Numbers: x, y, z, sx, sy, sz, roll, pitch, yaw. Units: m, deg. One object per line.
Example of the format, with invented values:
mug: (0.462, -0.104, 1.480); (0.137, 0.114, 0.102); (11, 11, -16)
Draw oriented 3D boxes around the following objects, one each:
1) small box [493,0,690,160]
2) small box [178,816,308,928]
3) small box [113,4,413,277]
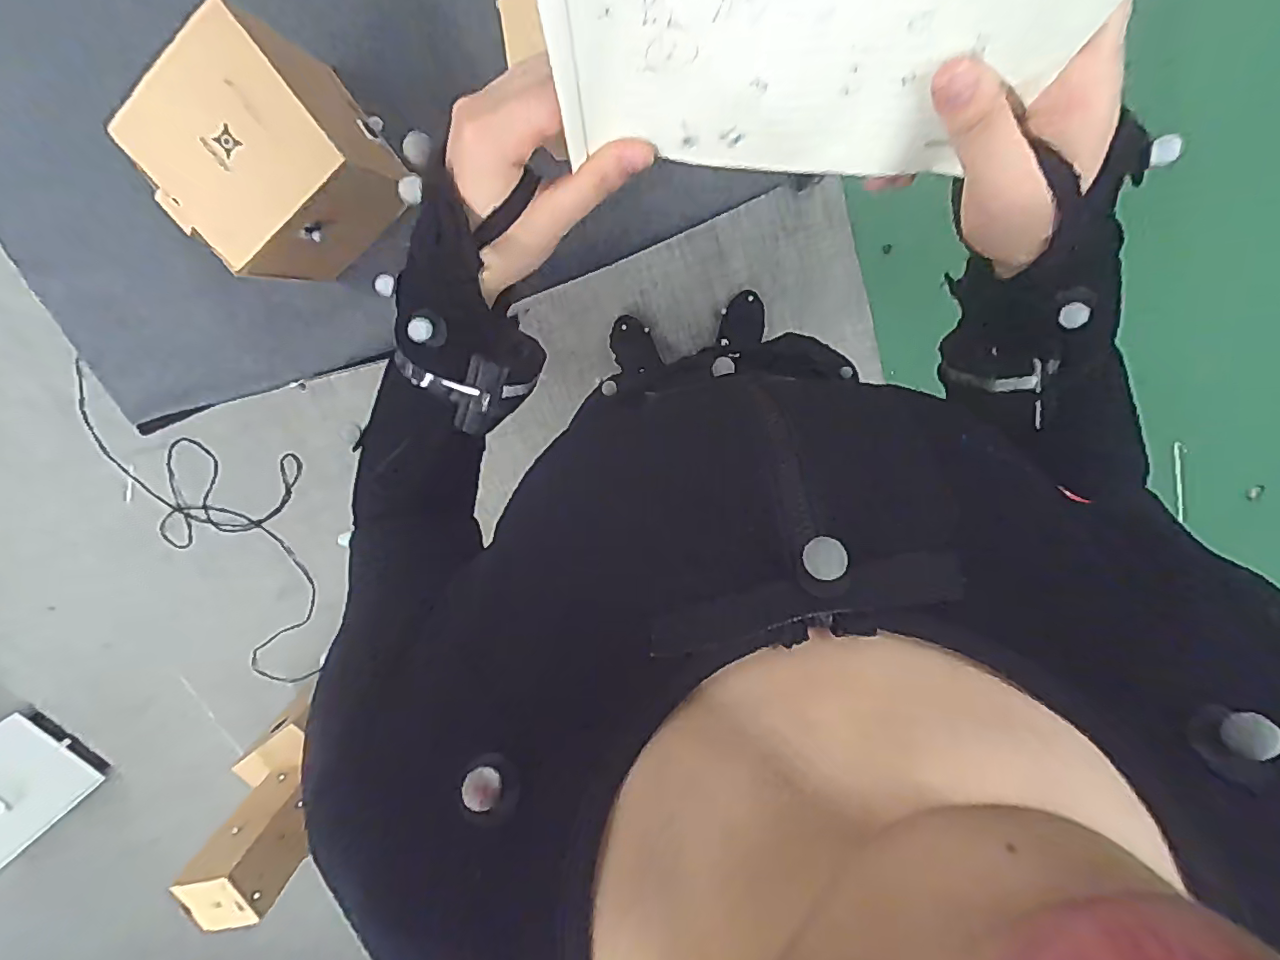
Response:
small box: (-0.038, -0.438, 0.528); (0.168, 0.176, 0.179); (-3, 109, 7)
small box: (-1.018, 1.011, 1.403); (0.179, 0.176, 0.168); (-16, 108, 12)
small box: (-0.392, -0.343, 0.596); (0.179, 0.176, 0.168); (-35, 104, 14)
